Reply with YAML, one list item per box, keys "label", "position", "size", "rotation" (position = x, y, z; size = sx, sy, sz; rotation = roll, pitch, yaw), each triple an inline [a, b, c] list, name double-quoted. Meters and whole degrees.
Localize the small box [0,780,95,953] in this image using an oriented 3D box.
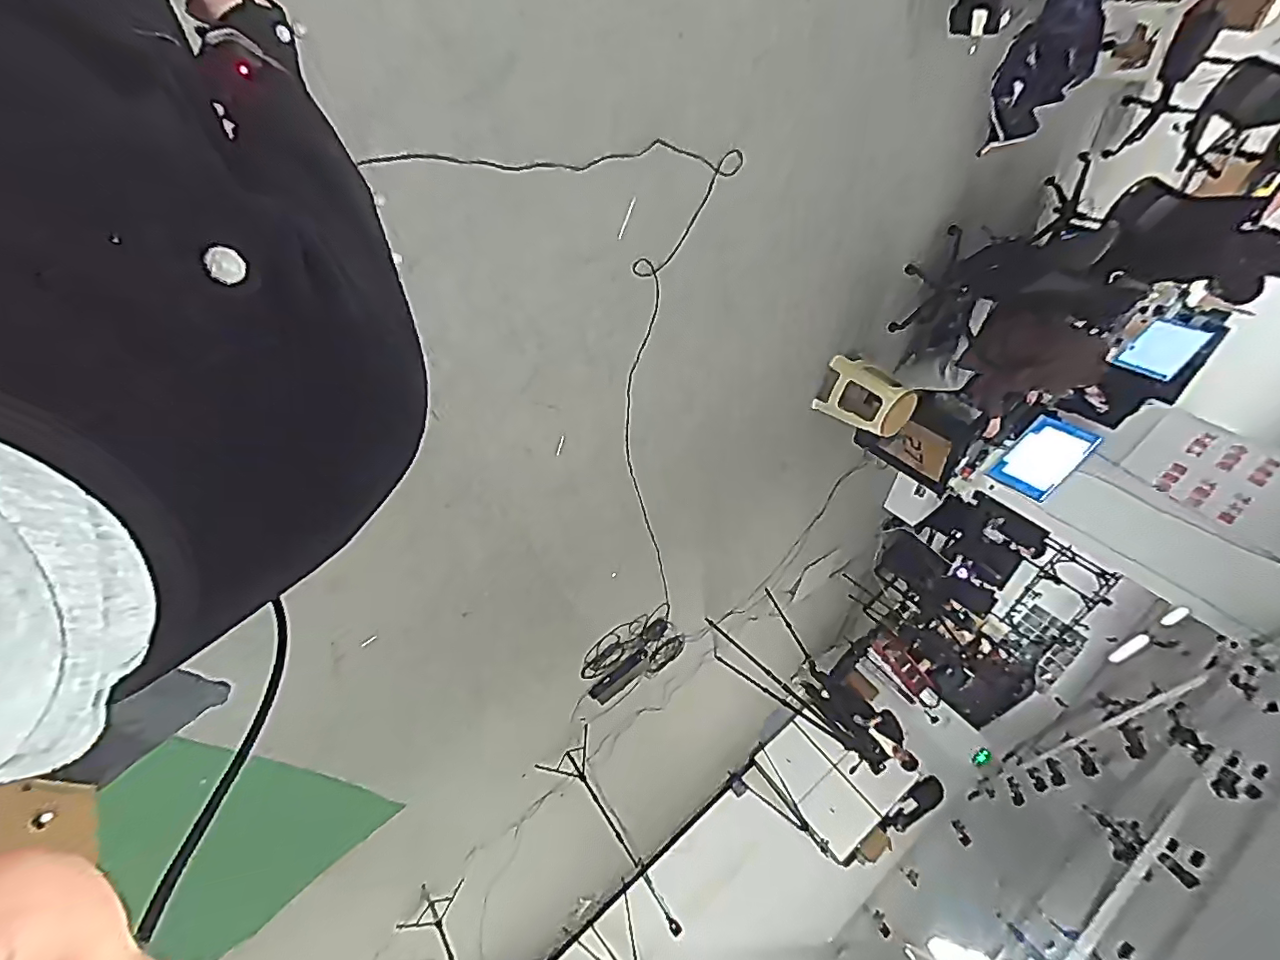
- label: "small box"
  position: [-0.990, 0.584, 0.812]
  size: [0.179, 0.176, 0.168]
  rotation: [-40, 145, -12]
